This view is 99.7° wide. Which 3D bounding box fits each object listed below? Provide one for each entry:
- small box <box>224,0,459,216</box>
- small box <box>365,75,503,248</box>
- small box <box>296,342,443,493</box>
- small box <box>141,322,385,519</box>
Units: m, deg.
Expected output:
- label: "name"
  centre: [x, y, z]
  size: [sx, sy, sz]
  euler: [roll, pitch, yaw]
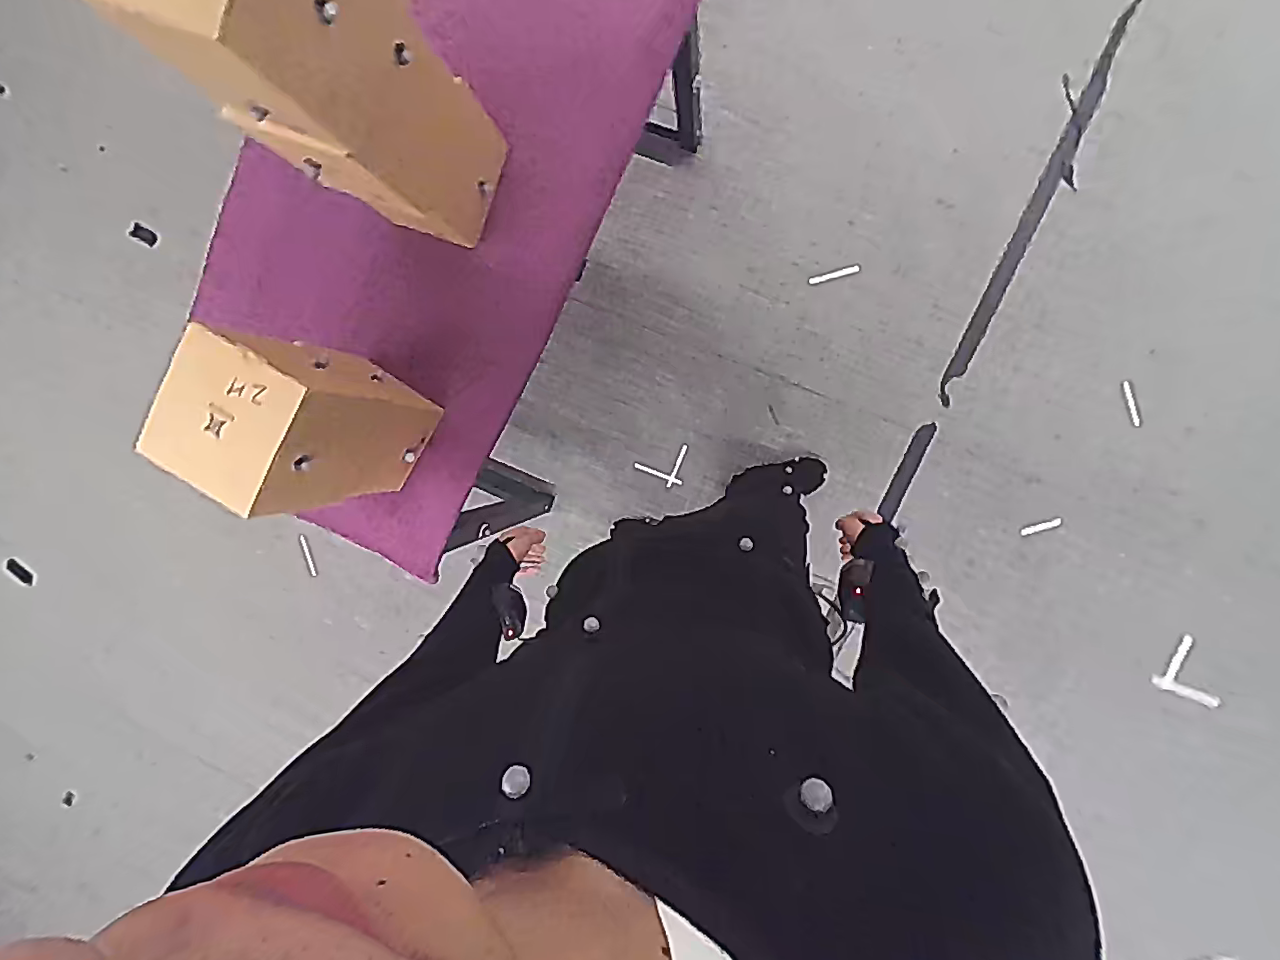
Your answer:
- label: "small box"
  centre: [-0.350, -0.459, 0.665]
  size: [0.168, 0.176, 0.179]
  euler: [21, 96, 7]
- label: "small box"
  centre: [-0.330, -0.490, 0.825]
  size: [0.168, 0.176, 0.179]
  euler: [21, 95, 7]
- label: "small box"
  centre: [-0.457, -0.093, 0.866]
  size: [0.179, 0.176, 0.168]
  euler: [32, 97, 4]
- label: "small box"
  centre: [-0.471, -0.072, 0.702]
  size: [0.168, 0.176, 0.179]
  euler: [30, 97, 4]
